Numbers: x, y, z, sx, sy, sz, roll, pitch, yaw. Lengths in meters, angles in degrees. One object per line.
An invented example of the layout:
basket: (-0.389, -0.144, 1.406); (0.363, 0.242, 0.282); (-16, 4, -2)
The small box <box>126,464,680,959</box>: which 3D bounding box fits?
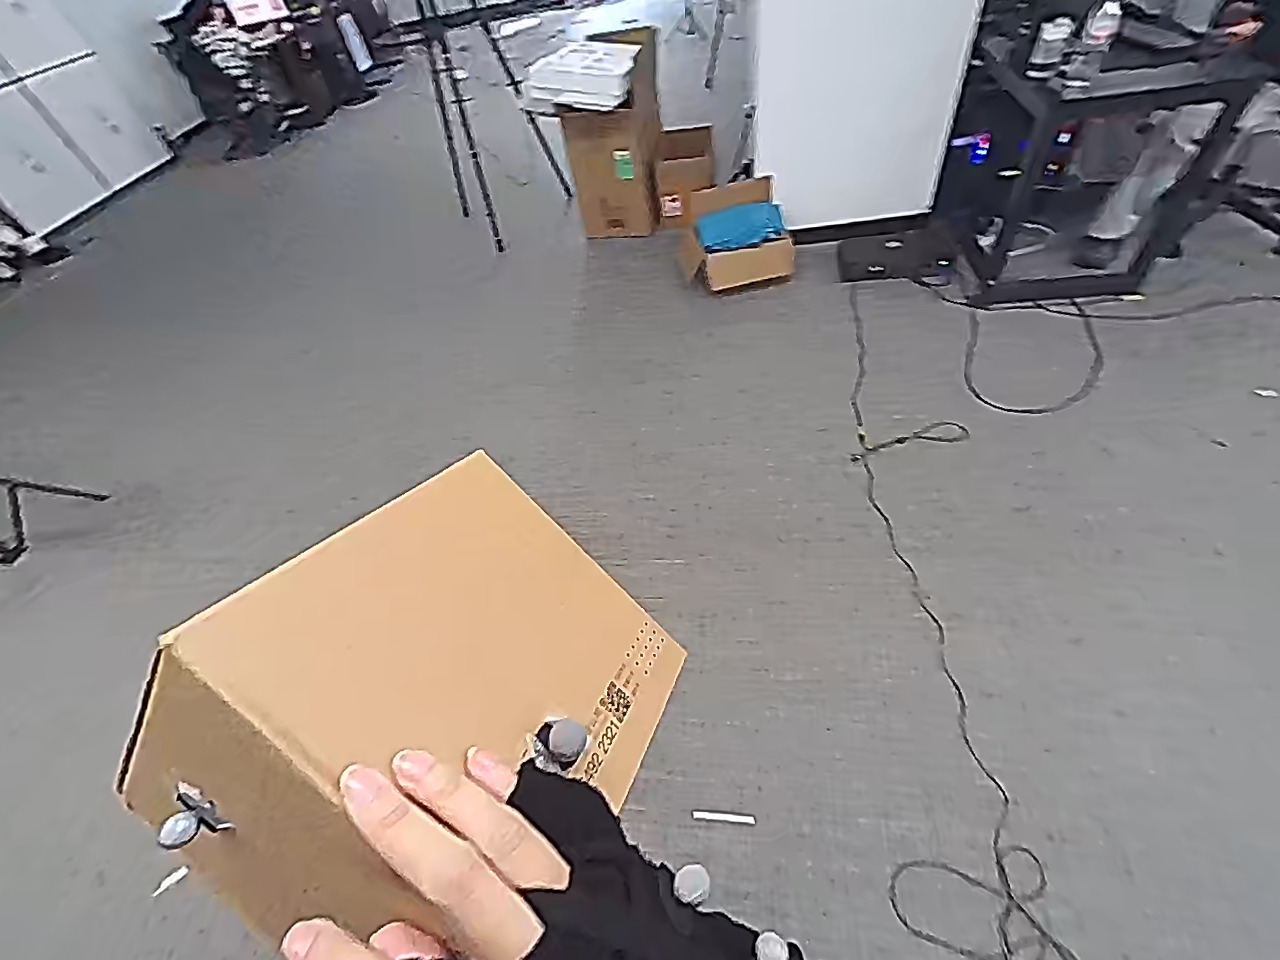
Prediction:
small box: (-0.110, 0.129, 0.286); (0.176, 0.179, 0.168); (44, 32, -3)
